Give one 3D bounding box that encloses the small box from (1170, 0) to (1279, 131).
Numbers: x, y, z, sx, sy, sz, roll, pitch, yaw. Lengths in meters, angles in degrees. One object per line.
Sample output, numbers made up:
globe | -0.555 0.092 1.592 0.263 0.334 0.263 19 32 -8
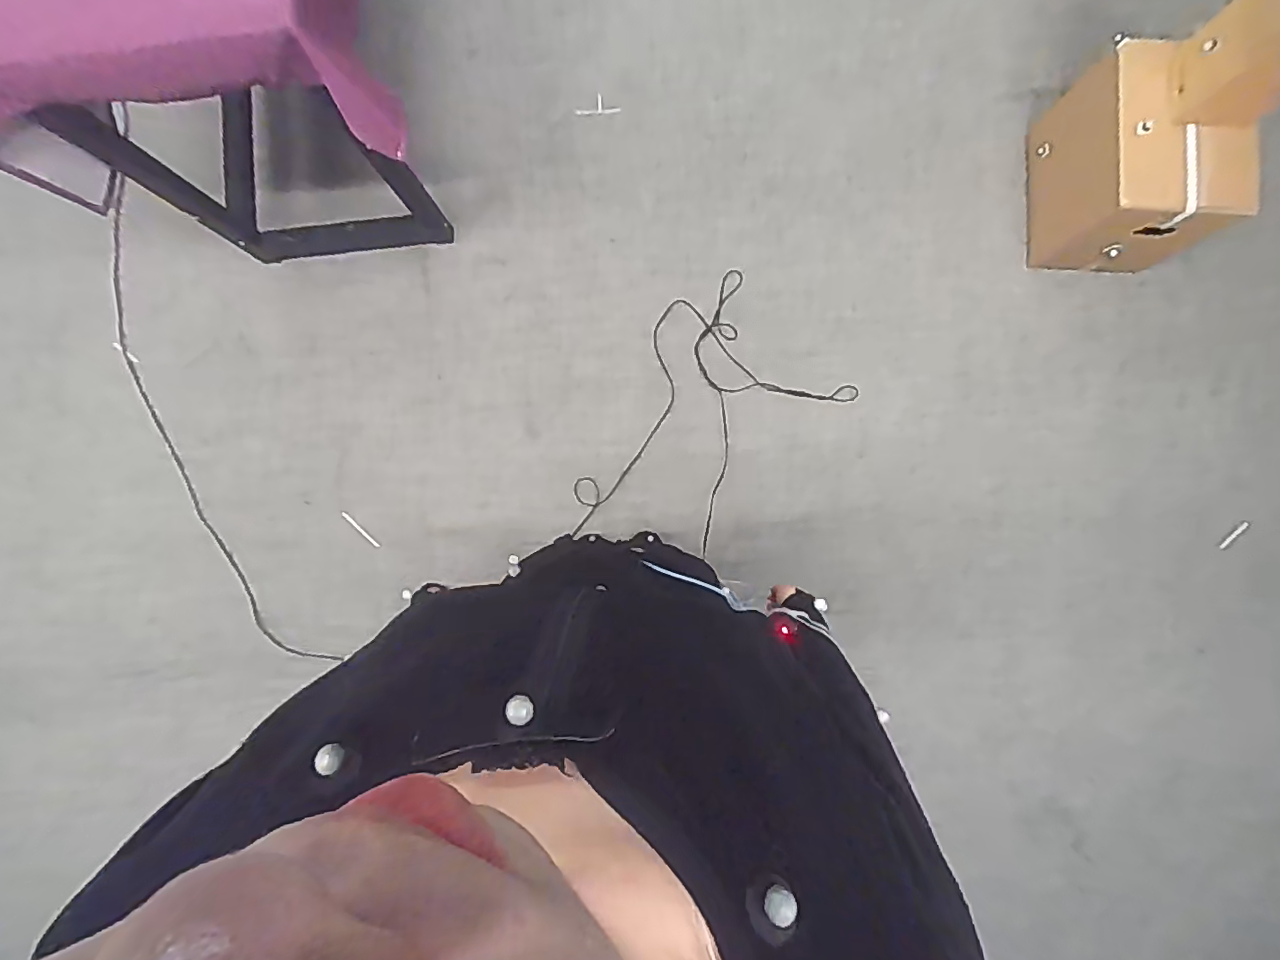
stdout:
small box | 1.291 -0.881 1.153 0.179 0.176 0.168 4 87 0
